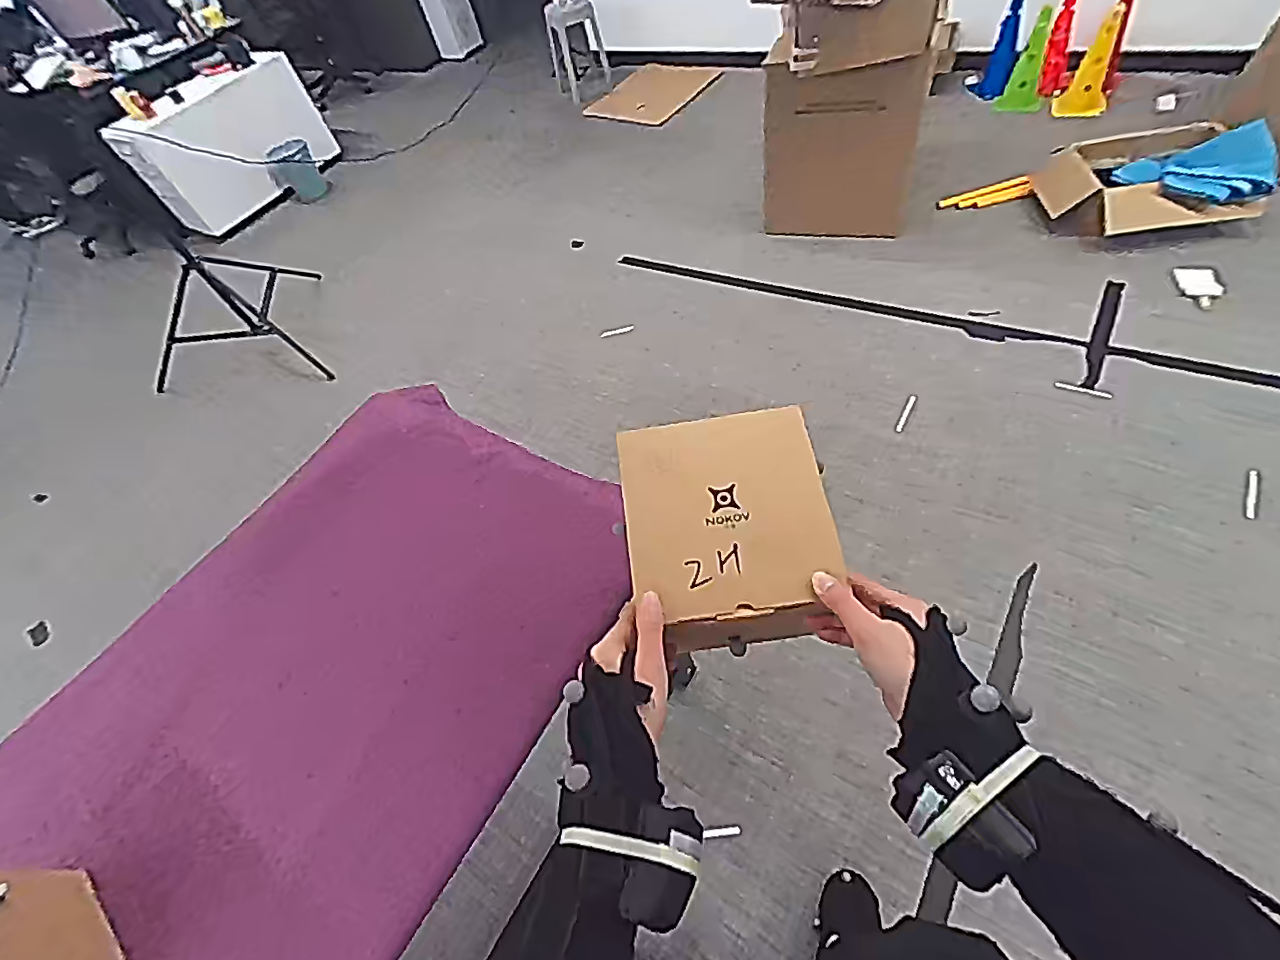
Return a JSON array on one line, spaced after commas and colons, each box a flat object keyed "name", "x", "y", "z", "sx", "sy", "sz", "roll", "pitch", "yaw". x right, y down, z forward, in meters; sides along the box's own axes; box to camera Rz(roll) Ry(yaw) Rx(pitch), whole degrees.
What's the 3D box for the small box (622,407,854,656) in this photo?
[{"name": "small box", "x": 0.079, "y": 0.057, "z": 0.514, "sx": 0.168, "sy": 0.176, "sz": 0.179, "roll": -8, "pitch": 64, "yaw": 3}]
